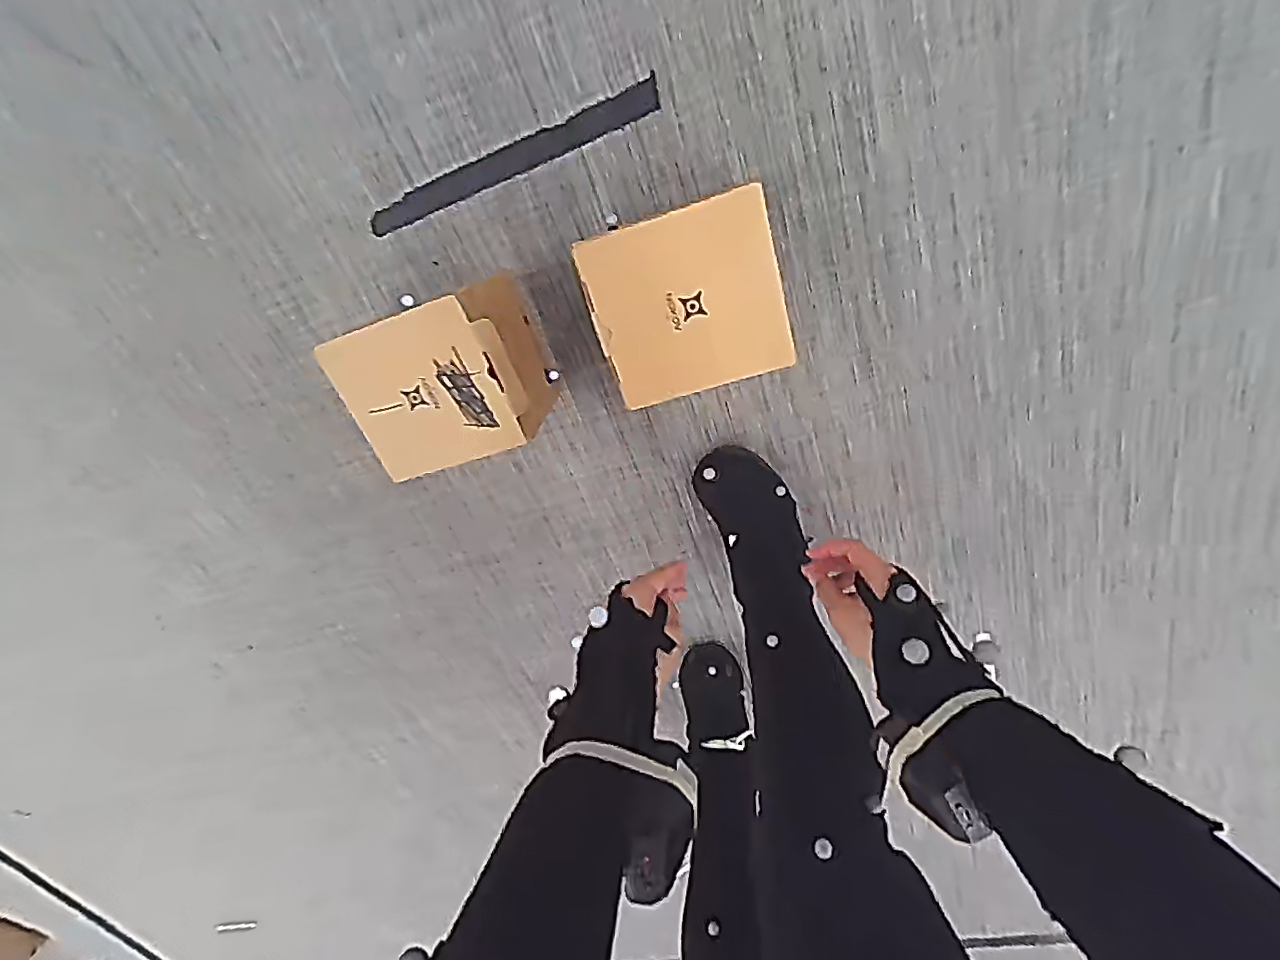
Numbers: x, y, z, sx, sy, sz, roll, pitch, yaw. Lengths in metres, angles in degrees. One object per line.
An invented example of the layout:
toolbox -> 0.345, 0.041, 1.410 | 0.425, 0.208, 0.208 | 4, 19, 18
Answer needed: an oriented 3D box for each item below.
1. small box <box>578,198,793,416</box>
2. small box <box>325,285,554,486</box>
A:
small box -> 0.052, -0.193, 0.586 | 0.179, 0.176, 0.168 | -14, 116, 13
small box -> -0.216, -0.119, 0.645 | 0.179, 0.176, 0.168 | -15, 115, 13
